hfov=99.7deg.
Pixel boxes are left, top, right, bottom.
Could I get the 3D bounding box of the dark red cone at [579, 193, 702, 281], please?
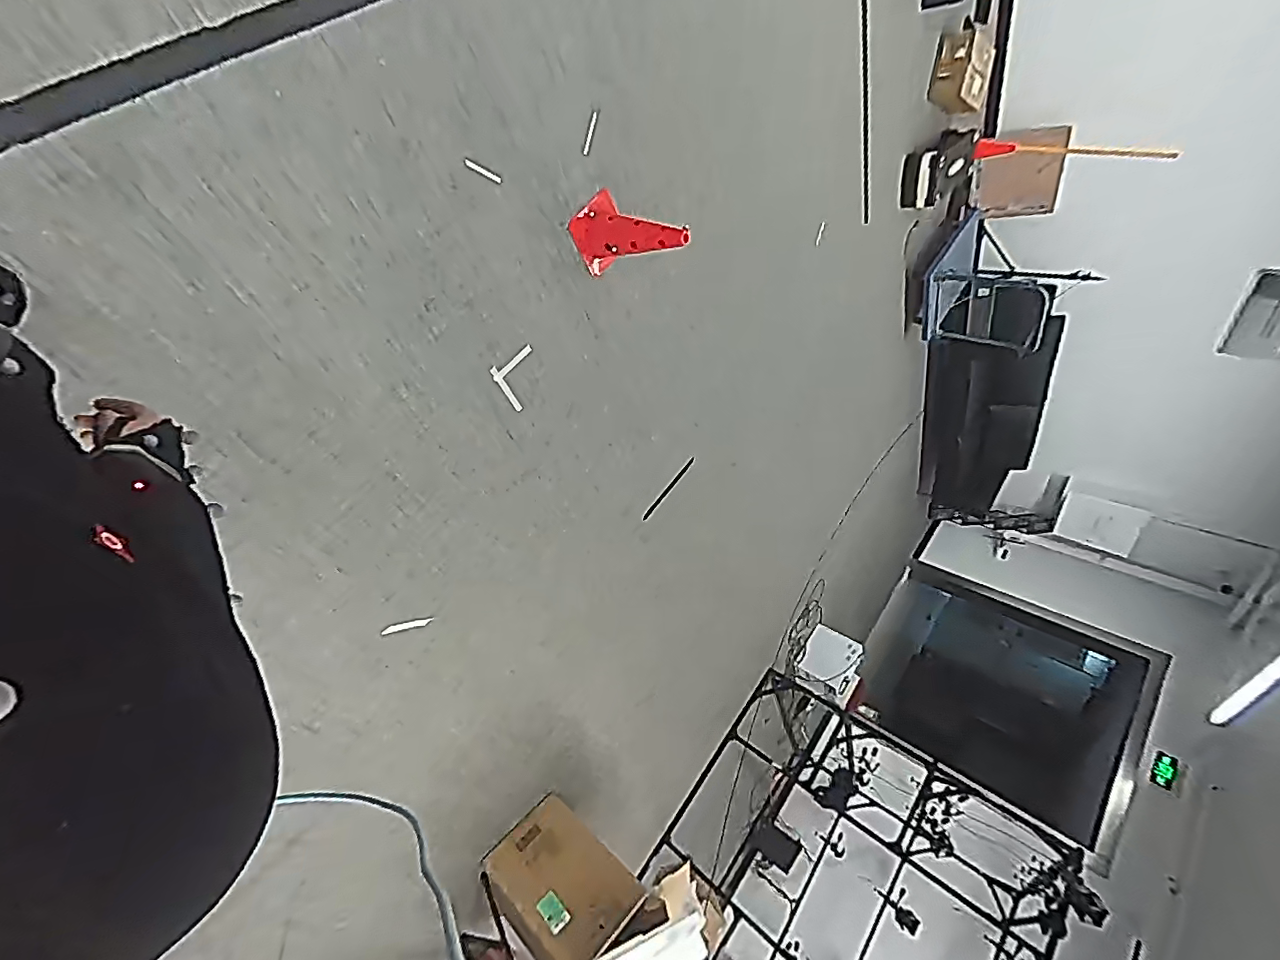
[{"bbox_3d":[0.020,-0.713,1.598,0.202,0.394,0.201,-53,139,-17],"label":"dark red cone"}]
